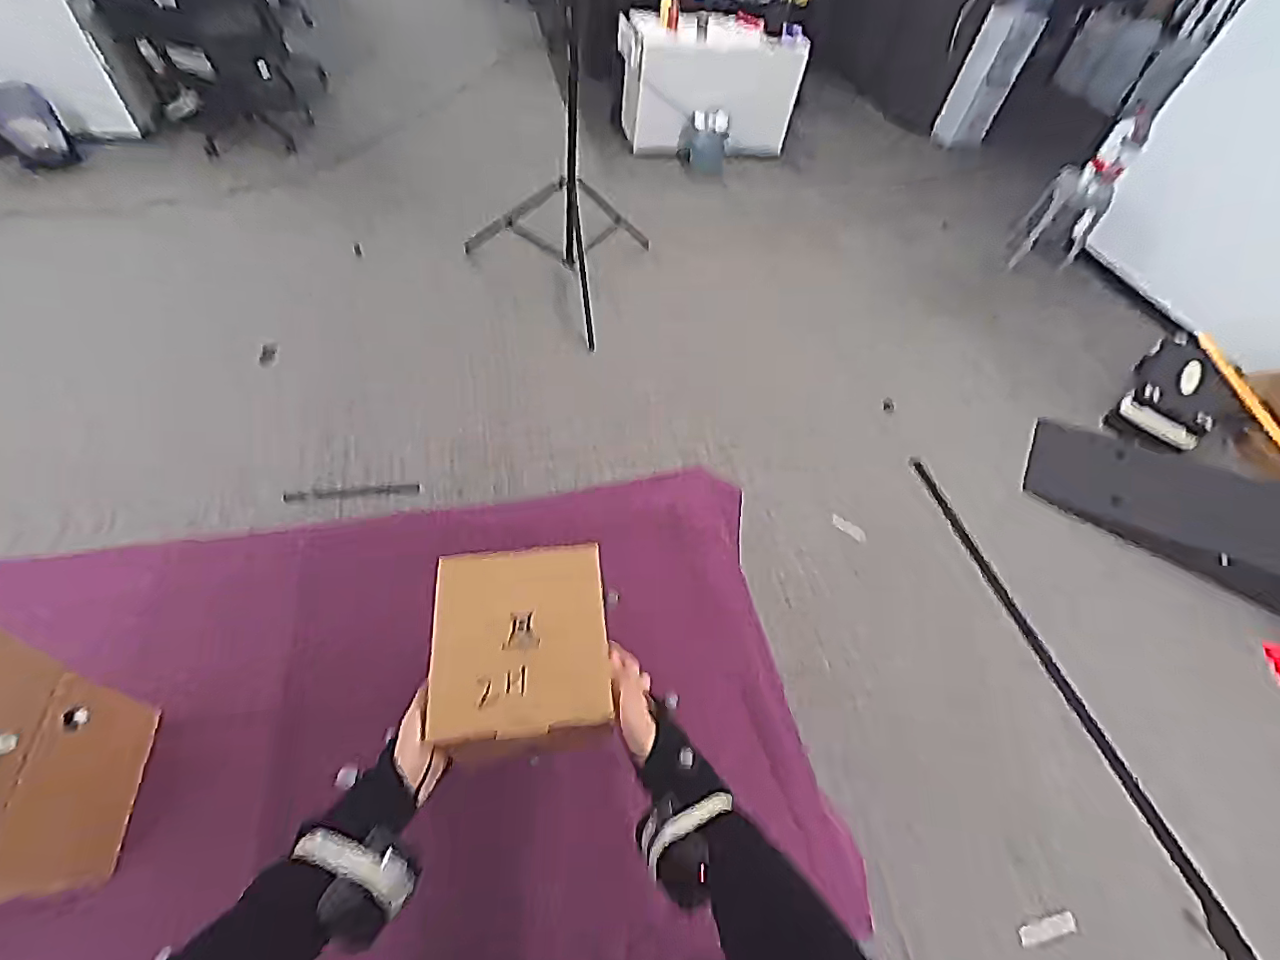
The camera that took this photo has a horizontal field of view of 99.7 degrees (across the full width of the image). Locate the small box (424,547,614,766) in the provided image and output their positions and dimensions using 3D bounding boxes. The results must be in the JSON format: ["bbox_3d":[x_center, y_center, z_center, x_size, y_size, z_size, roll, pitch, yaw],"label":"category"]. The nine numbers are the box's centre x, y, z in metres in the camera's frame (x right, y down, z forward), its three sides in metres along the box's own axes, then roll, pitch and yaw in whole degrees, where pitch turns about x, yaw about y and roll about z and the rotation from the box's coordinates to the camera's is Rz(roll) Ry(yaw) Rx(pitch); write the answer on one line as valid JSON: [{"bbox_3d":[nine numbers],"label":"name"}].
[{"bbox_3d":[-0.120,0.192,0.583,0.168,0.176,0.179,-5,57,-7],"label":"small box"}]

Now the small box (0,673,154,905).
[{"bbox_3d":[-0.637,0.313,0.532,0.168,0.176,0.179,-5,53,-12],"label":"small box"}]
